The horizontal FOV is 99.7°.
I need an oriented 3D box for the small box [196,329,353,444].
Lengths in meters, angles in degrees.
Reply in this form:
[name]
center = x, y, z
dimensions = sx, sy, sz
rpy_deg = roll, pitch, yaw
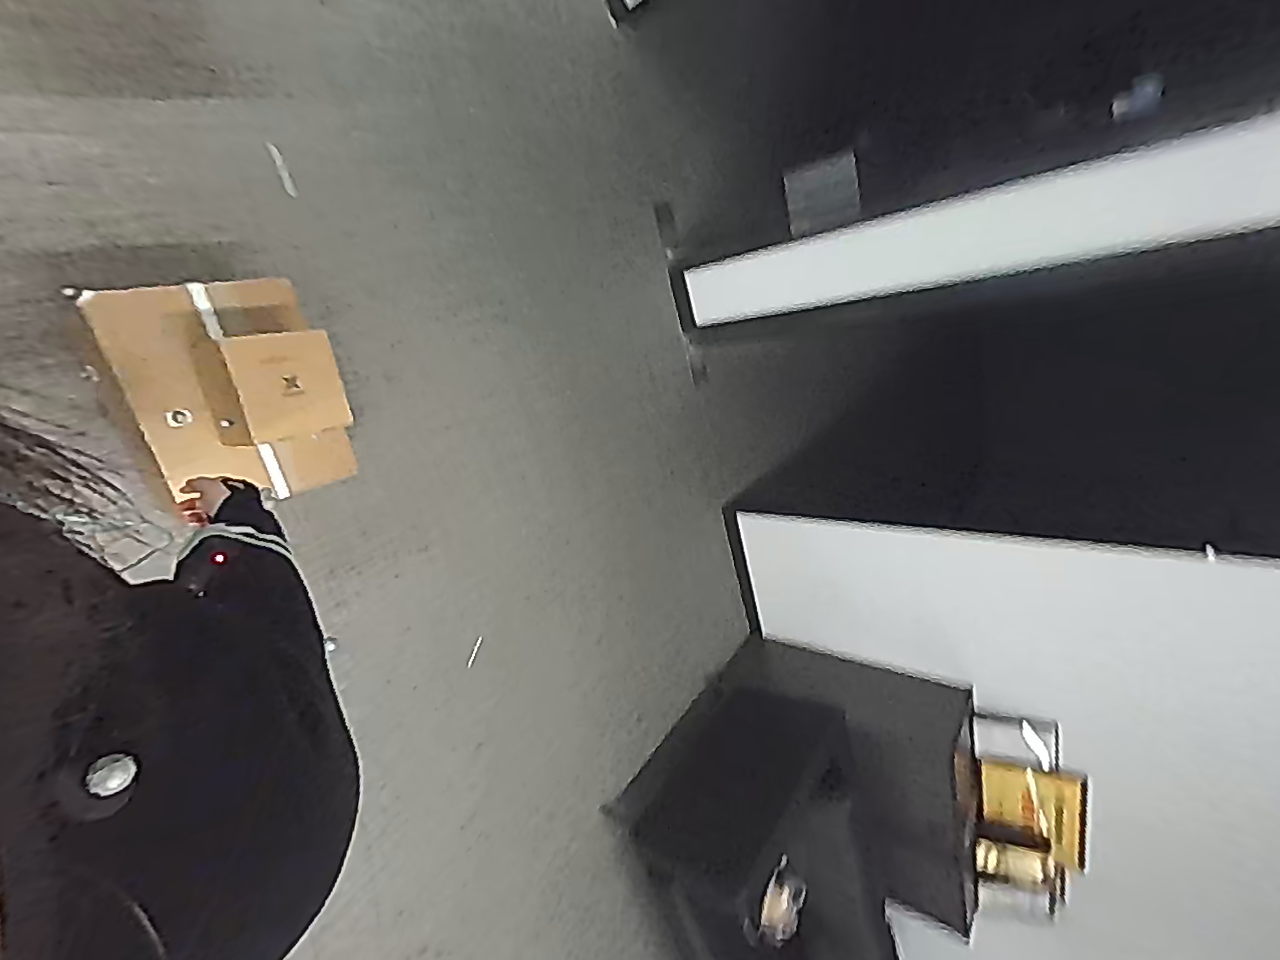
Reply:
[small box]
center = -0.655, -0.168, 0.972
dimensions = 0.168, 0.176, 0.179
rpy_deg = -26, 112, -49
